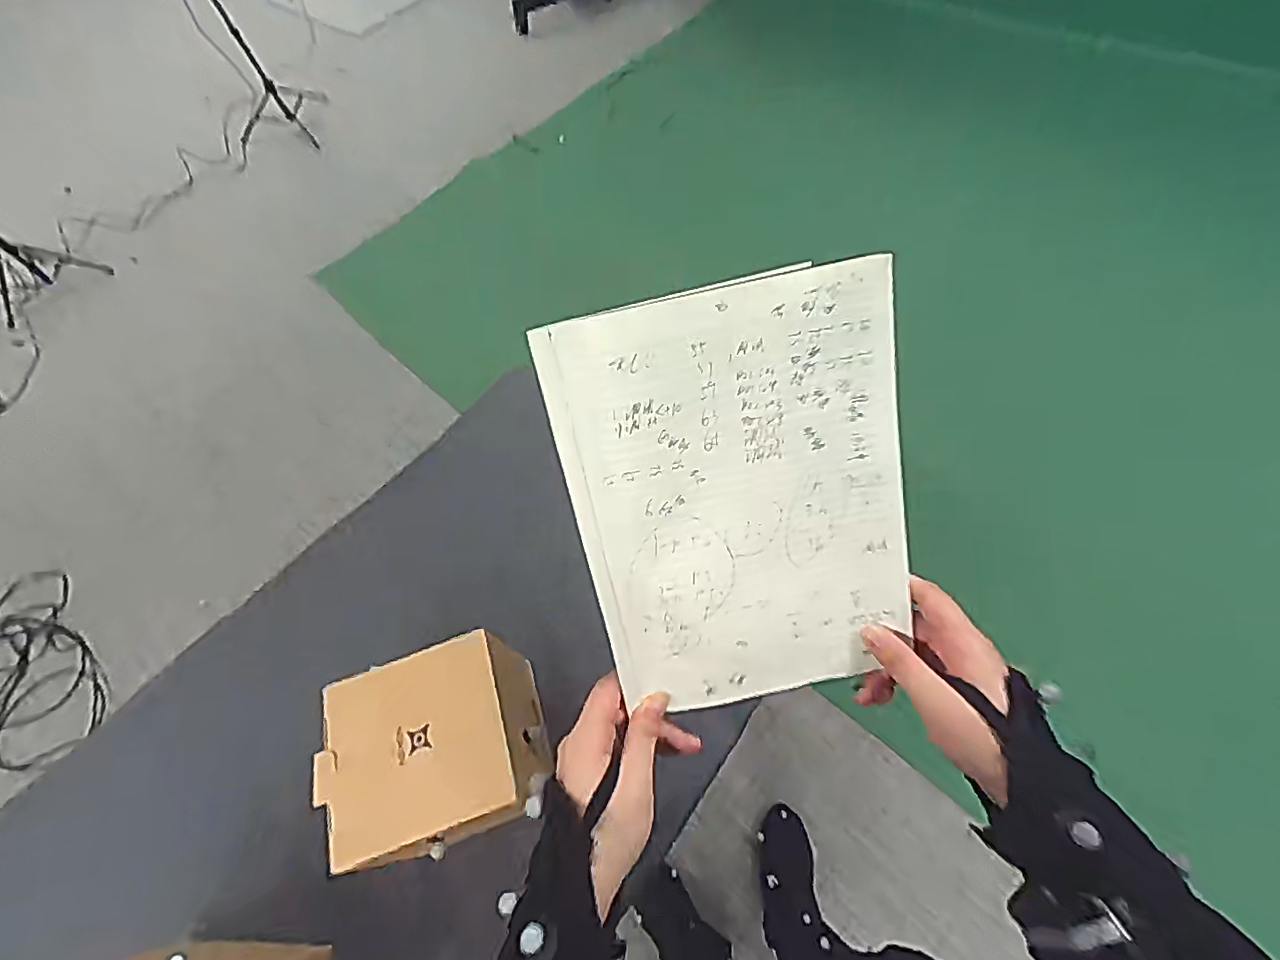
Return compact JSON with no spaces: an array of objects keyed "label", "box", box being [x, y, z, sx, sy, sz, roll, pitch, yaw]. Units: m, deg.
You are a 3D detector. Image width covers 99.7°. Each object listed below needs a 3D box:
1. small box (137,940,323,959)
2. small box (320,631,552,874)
[{"label":"small box","box":[-0.421,0.529,0.472,0.179,0.176,0.168,-3,61,6]},{"label":"small box","box":[-0.205,0.283,0.579,0.179,0.176,0.168,-21,61,-3]}]
